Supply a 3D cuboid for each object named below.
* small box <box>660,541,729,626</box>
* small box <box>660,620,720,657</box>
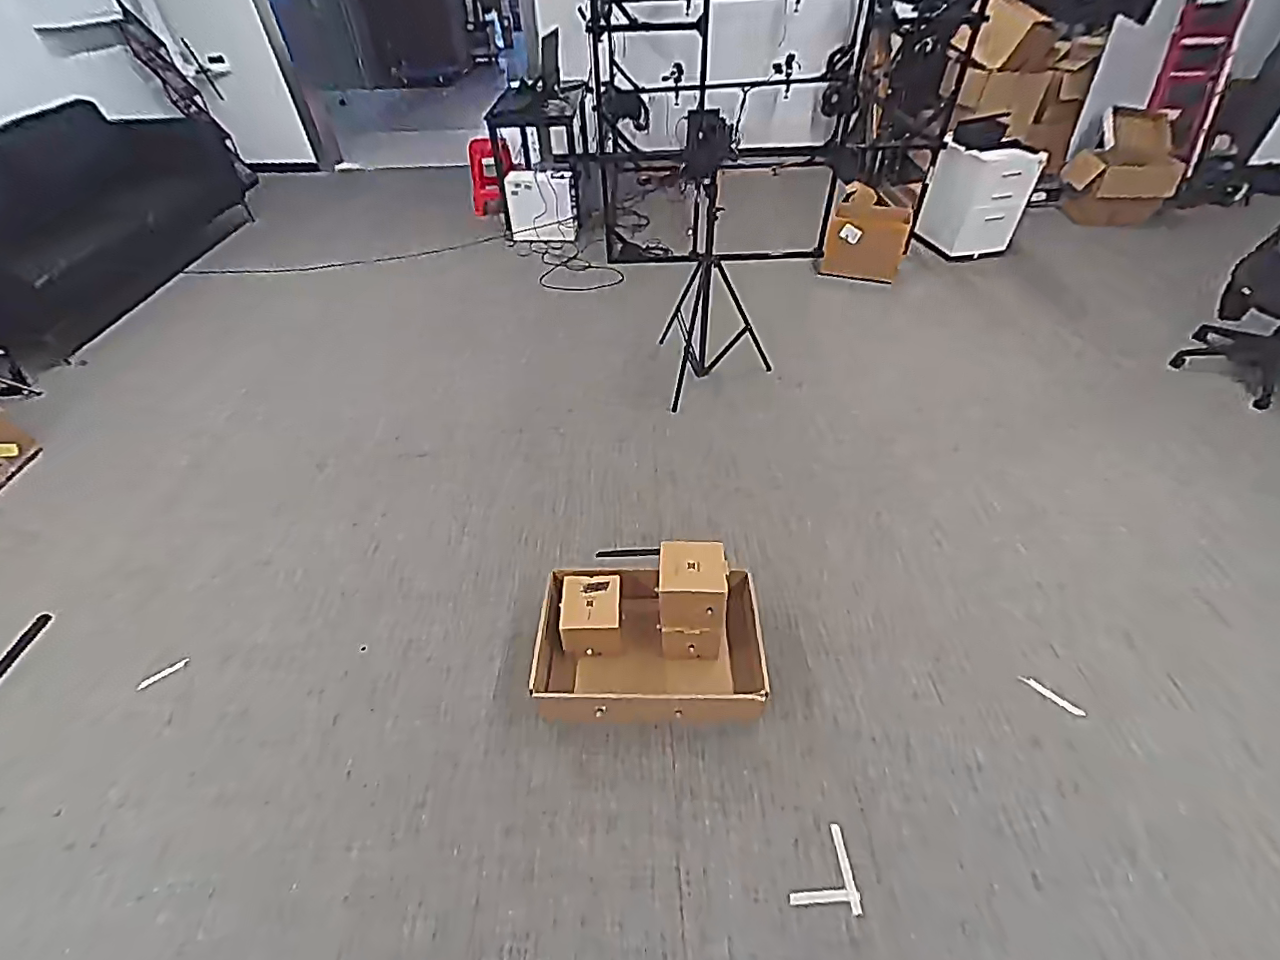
[{"bbox_3d":[0.145,0.283,1.466,0.179,0.176,0.168,-1,43,5],"label":"small box"},{"bbox_3d":[0.149,0.402,1.579,0.168,0.176,0.179,-2,46,5],"label":"small box"}]
